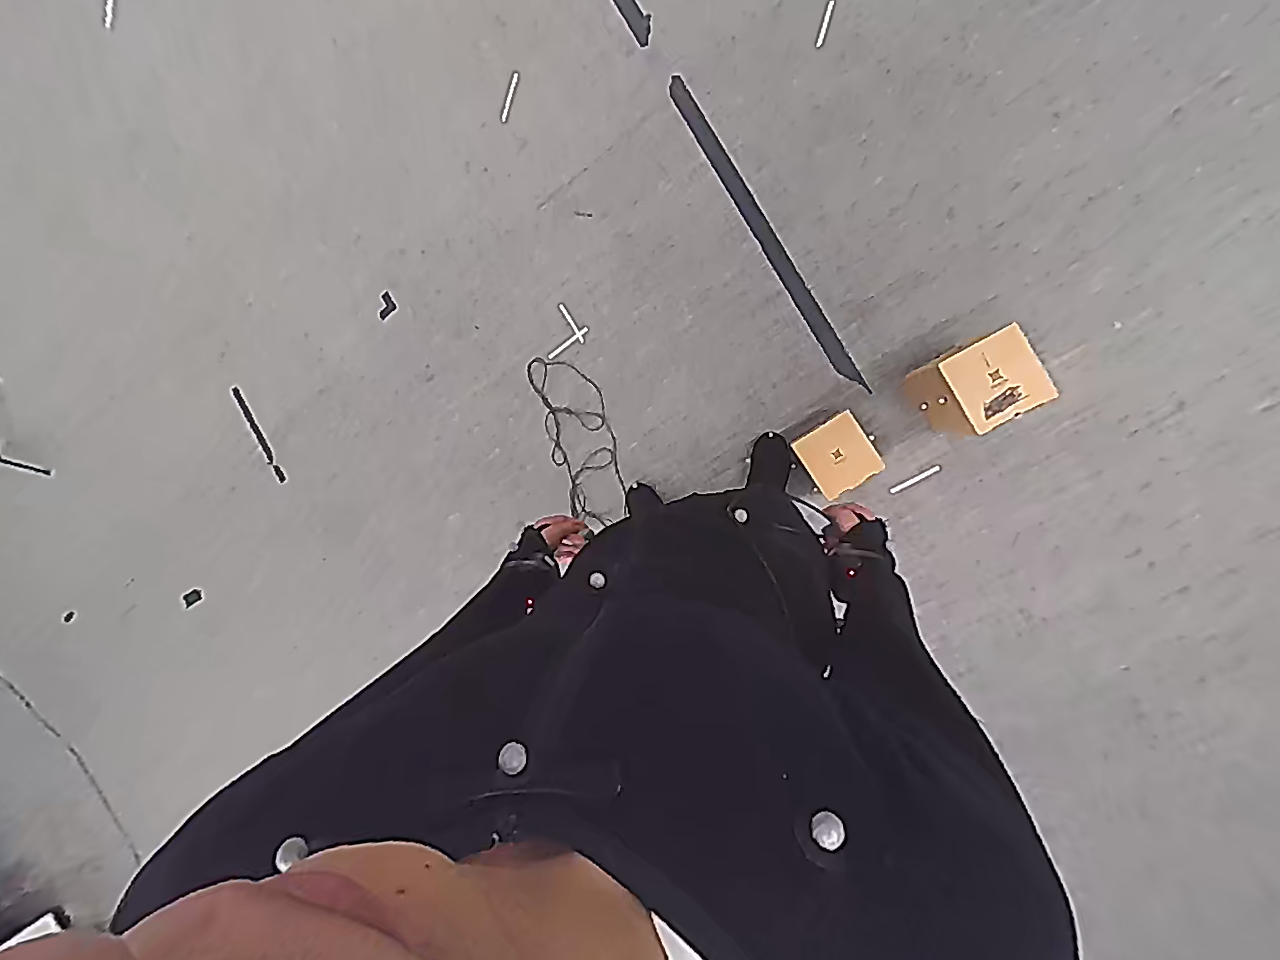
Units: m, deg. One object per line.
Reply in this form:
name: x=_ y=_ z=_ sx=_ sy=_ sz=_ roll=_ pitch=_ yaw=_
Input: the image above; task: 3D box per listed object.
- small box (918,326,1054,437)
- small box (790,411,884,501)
small box: x=0.747 y=-0.210 z=1.188 sx=0.168 sy=0.176 sz=0.179 roll=-30 pitch=87 yaw=15
small box: x=0.513 y=-0.065 z=1.436 sx=0.168 sy=0.176 sz=0.179 roll=-34 pitch=87 yaw=15
